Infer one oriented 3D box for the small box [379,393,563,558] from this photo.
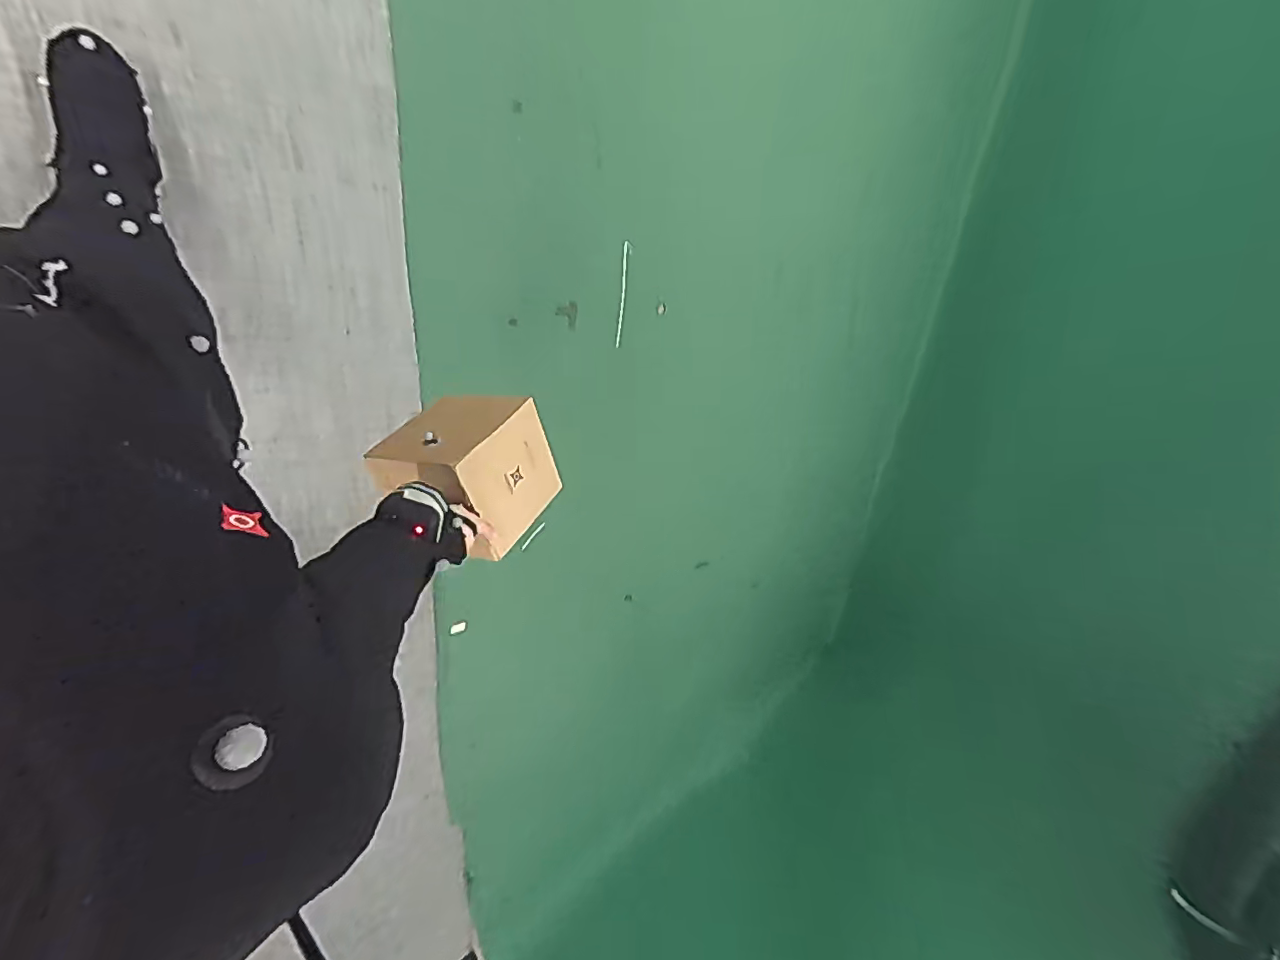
[{"bbox_3d":[-0.243,-0.012,0.783,0.179,0.176,0.168,-58,145,-44],"label":"small box"}]
